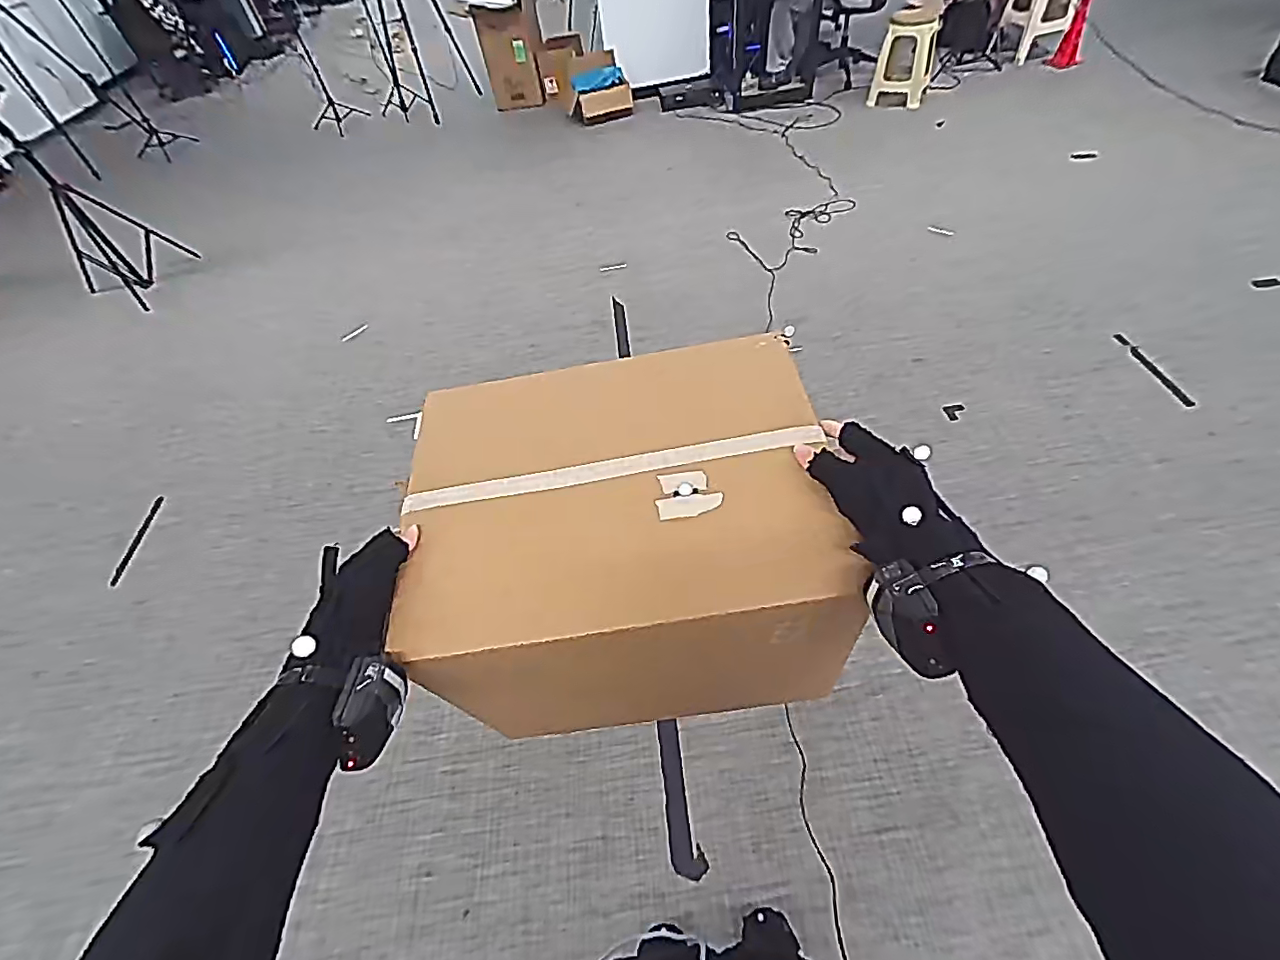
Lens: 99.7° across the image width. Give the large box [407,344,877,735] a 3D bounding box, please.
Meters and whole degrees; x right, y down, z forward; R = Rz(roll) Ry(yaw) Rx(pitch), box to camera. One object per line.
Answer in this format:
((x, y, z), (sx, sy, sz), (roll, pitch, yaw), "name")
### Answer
((0.000, 0.084, 0.650), (0.408, 0.320, 0.320), (-9, 54, 2), "large box")
